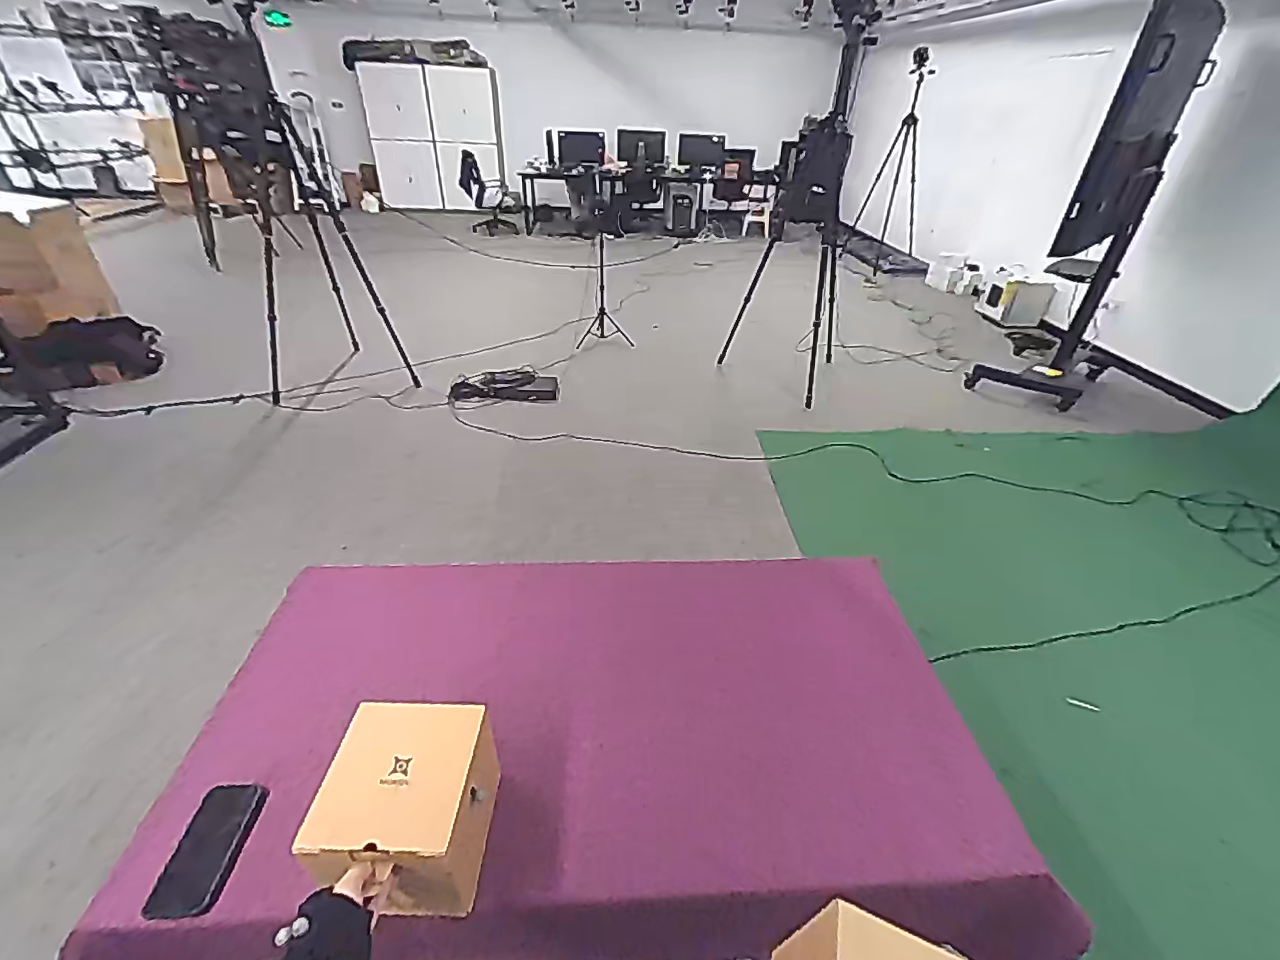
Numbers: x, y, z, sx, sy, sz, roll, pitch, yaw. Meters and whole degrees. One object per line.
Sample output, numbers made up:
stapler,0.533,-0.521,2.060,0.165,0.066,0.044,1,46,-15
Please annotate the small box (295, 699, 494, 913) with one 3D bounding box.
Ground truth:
small box,-0.286,0.406,0.682,0.168,0.176,0.179,3,35,-1
